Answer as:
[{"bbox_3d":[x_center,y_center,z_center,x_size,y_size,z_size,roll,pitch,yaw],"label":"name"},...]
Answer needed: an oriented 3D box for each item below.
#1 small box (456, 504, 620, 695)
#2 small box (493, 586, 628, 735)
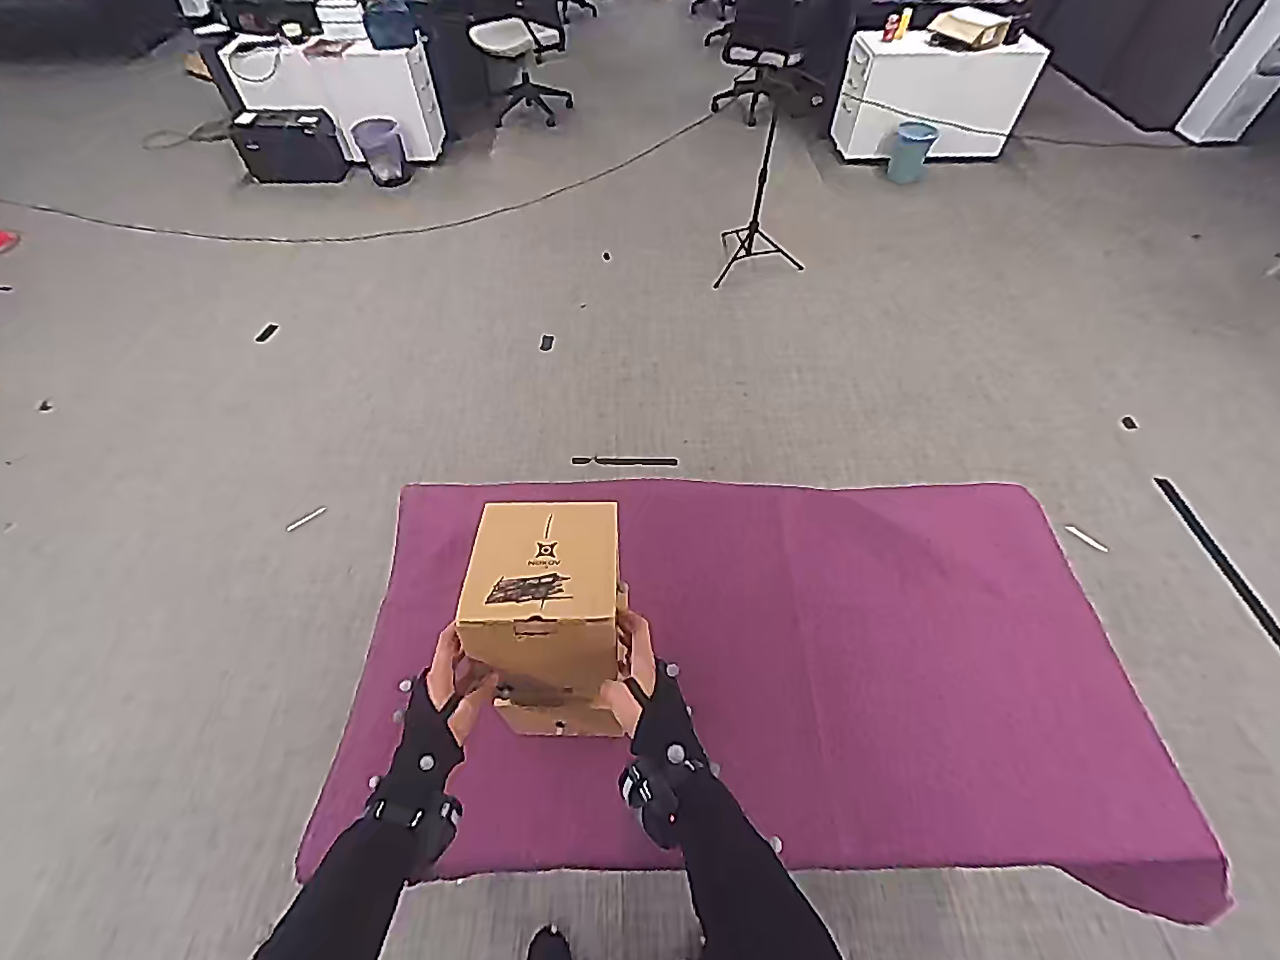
[{"bbox_3d":[-0.109,0.149,0.667,0.168,0.176,0.179,0,43,-1],"label":"small box"},{"bbox_3d":[-0.104,0.268,0.798,0.168,0.176,0.179,2,53,0],"label":"small box"}]
